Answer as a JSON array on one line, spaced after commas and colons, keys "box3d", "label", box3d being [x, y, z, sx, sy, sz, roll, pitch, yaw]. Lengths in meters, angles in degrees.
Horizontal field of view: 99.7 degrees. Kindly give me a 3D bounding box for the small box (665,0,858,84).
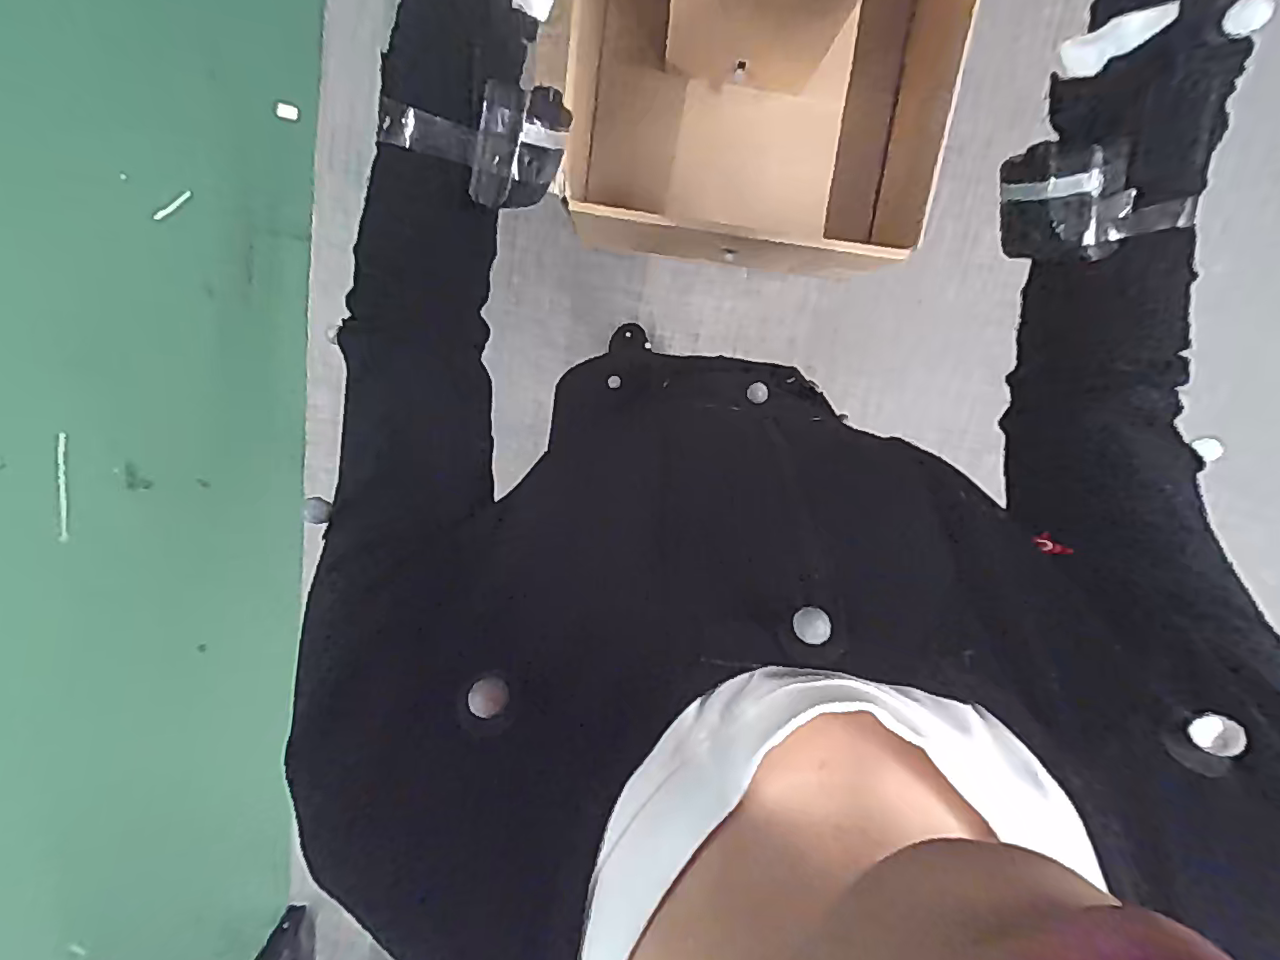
[{"box3d": [0.128, -0.552, 0.564, 0.179, 0.176, 0.168, 7, 100, -2], "label": "small box"}]
